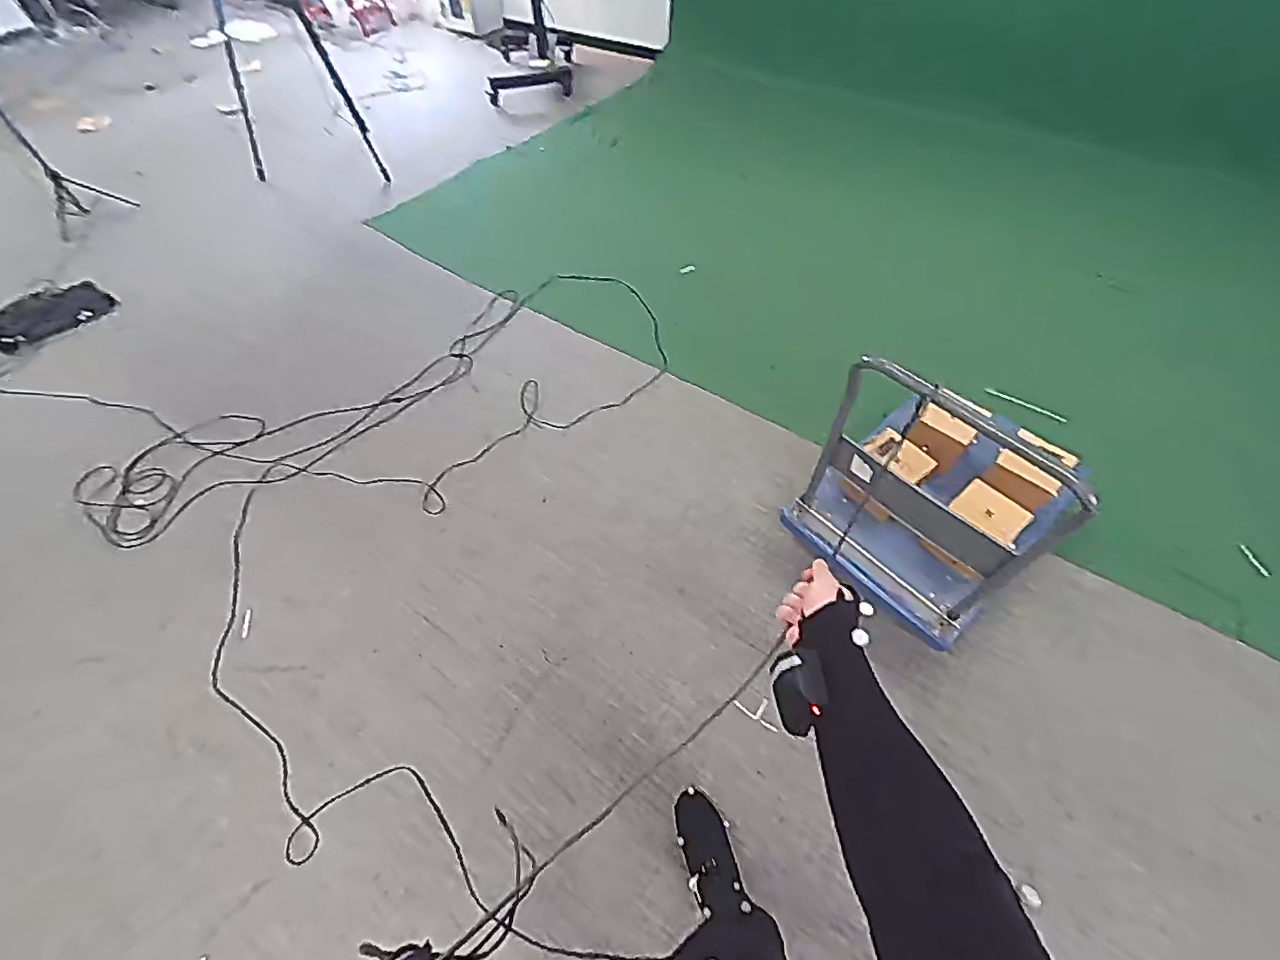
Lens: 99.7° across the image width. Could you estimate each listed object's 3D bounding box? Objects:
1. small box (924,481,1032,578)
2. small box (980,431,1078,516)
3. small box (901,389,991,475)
[{"bbox_3d":[0.936,0.141,1.515,0.179,0.176,0.168,-35,60,-20],"label":"small box"},{"bbox_3d":[1.140,-0.007,1.612,0.179,0.176,0.168,-40,61,-23],"label":"small box"},{"bbox_3d":[0.963,-0.149,1.721,0.179,0.176,0.168,-39,62,-23],"label":"small box"}]
